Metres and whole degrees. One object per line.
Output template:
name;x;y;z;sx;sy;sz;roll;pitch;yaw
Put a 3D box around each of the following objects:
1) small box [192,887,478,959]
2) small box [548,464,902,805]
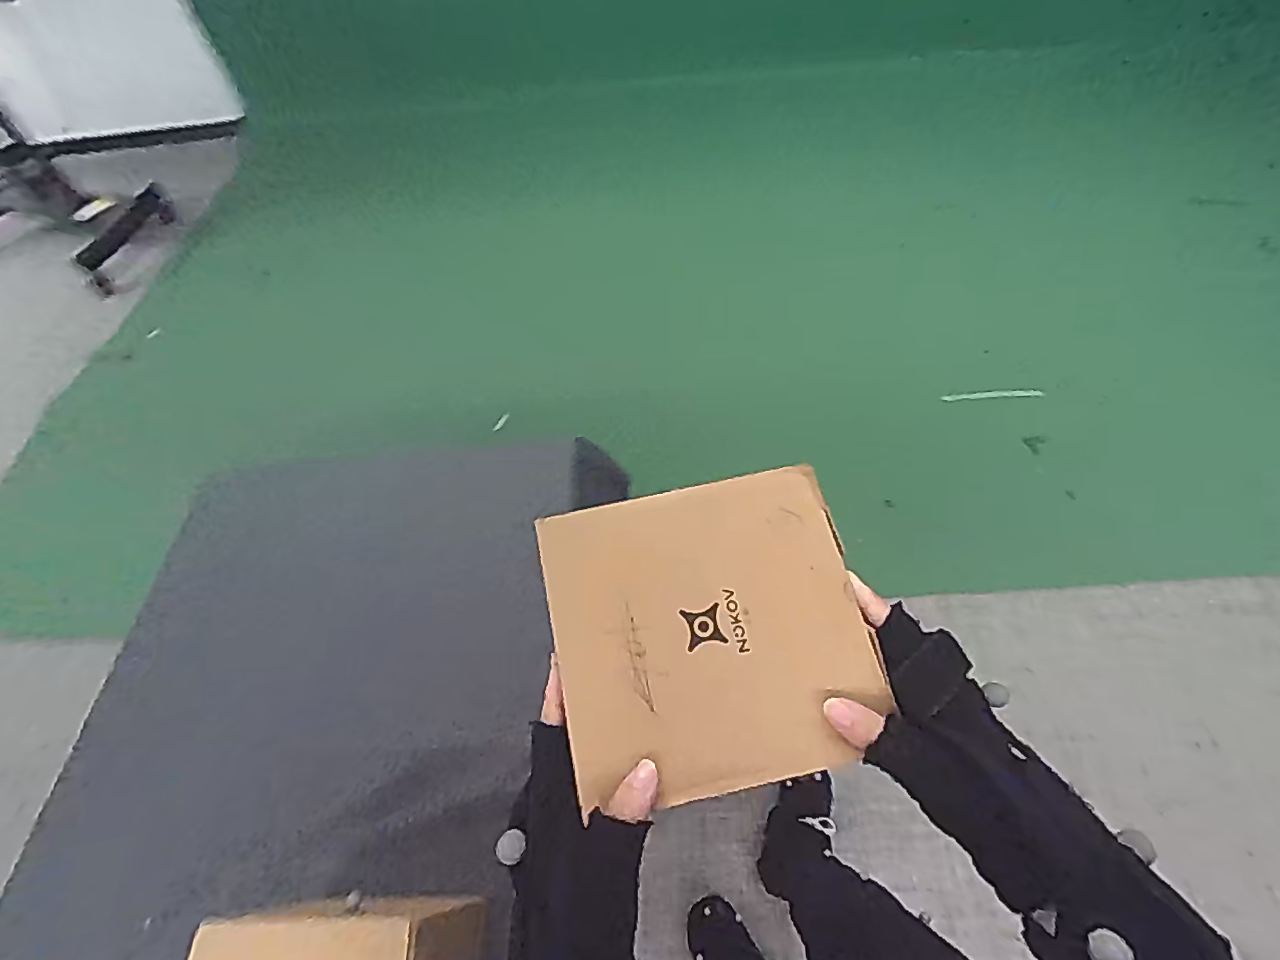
small box;-0.245;0.451;0.446;0.179;0.176;0.168;-6;56;1
small box;0.044;0.109;0.387;0.179;0.176;0.168;-12;67;-2
